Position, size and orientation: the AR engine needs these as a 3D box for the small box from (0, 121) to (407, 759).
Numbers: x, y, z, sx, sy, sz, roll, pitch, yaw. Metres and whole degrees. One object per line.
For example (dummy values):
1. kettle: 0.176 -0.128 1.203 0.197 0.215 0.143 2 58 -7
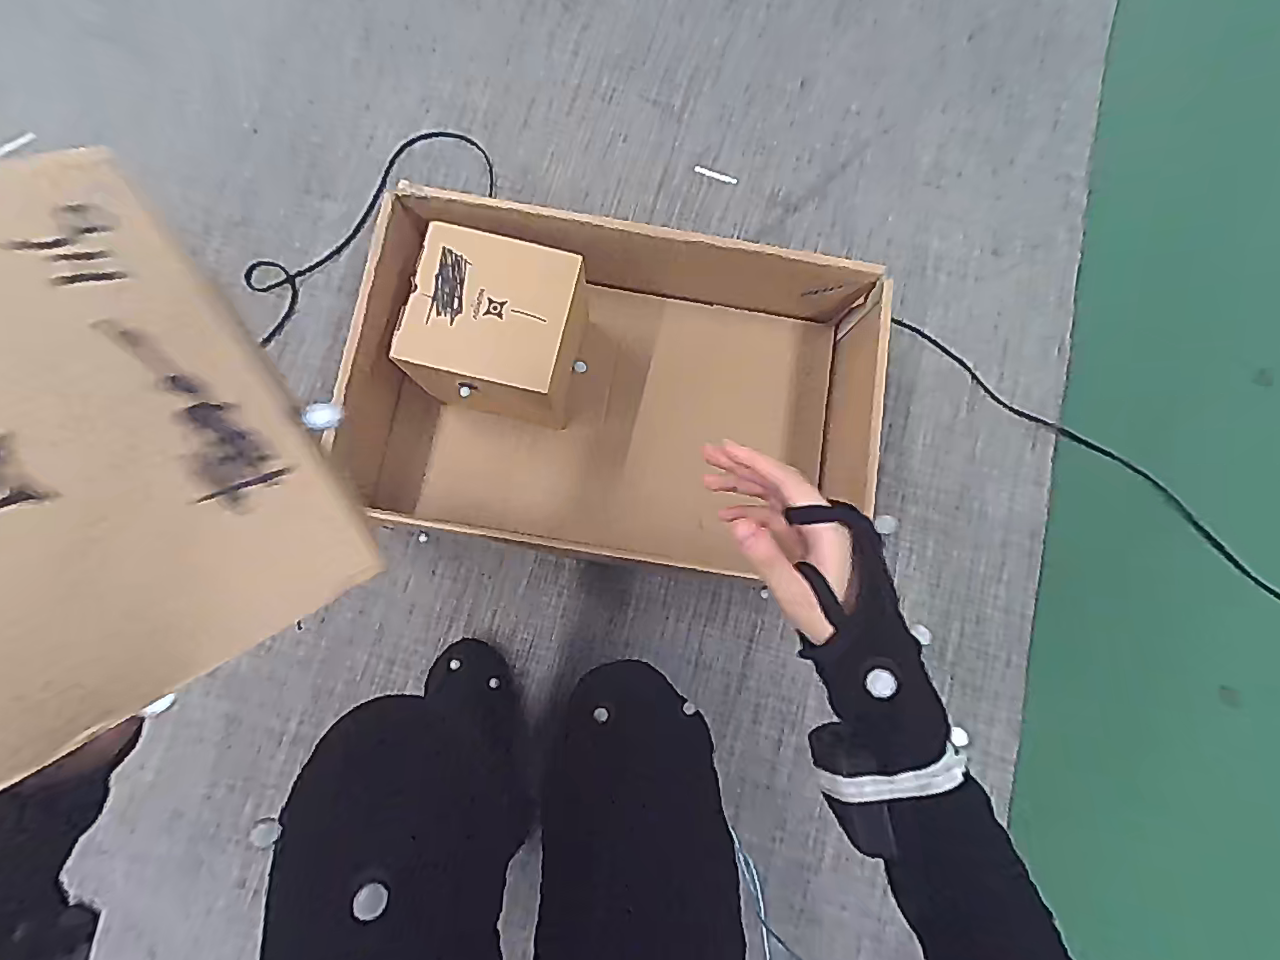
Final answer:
1. small box: -0.221 -0.006 0.228 0.179 0.176 0.168 -29 102 -24
